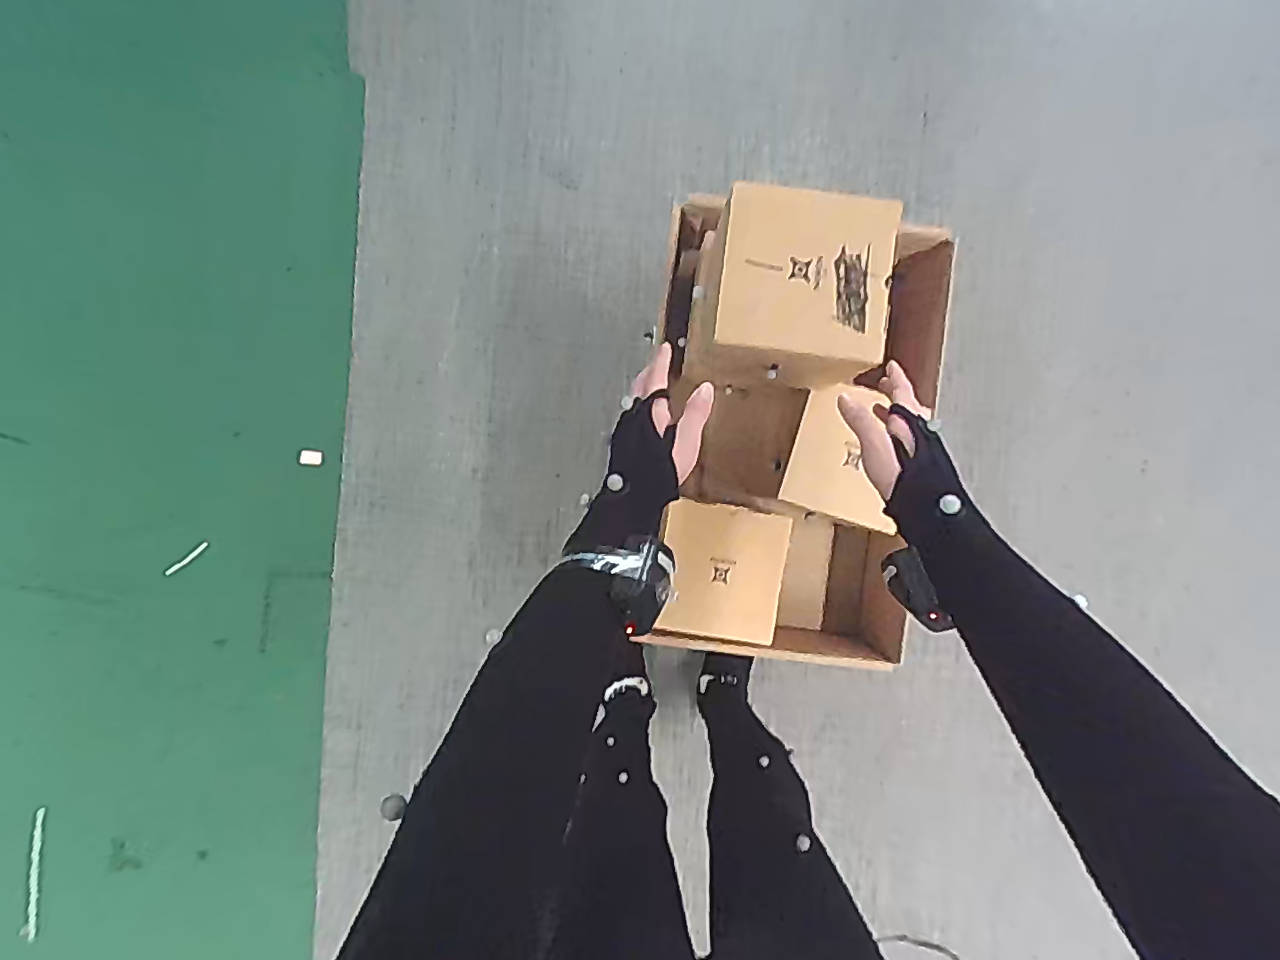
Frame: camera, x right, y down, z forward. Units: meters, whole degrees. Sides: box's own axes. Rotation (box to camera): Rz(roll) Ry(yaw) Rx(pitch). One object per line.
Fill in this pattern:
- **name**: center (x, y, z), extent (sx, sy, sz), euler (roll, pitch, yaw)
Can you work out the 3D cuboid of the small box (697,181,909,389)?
- **small box**: center (0.171, -0.204, 0.616), extent (0.179, 0.176, 0.168), euler (8, 90, -1)
